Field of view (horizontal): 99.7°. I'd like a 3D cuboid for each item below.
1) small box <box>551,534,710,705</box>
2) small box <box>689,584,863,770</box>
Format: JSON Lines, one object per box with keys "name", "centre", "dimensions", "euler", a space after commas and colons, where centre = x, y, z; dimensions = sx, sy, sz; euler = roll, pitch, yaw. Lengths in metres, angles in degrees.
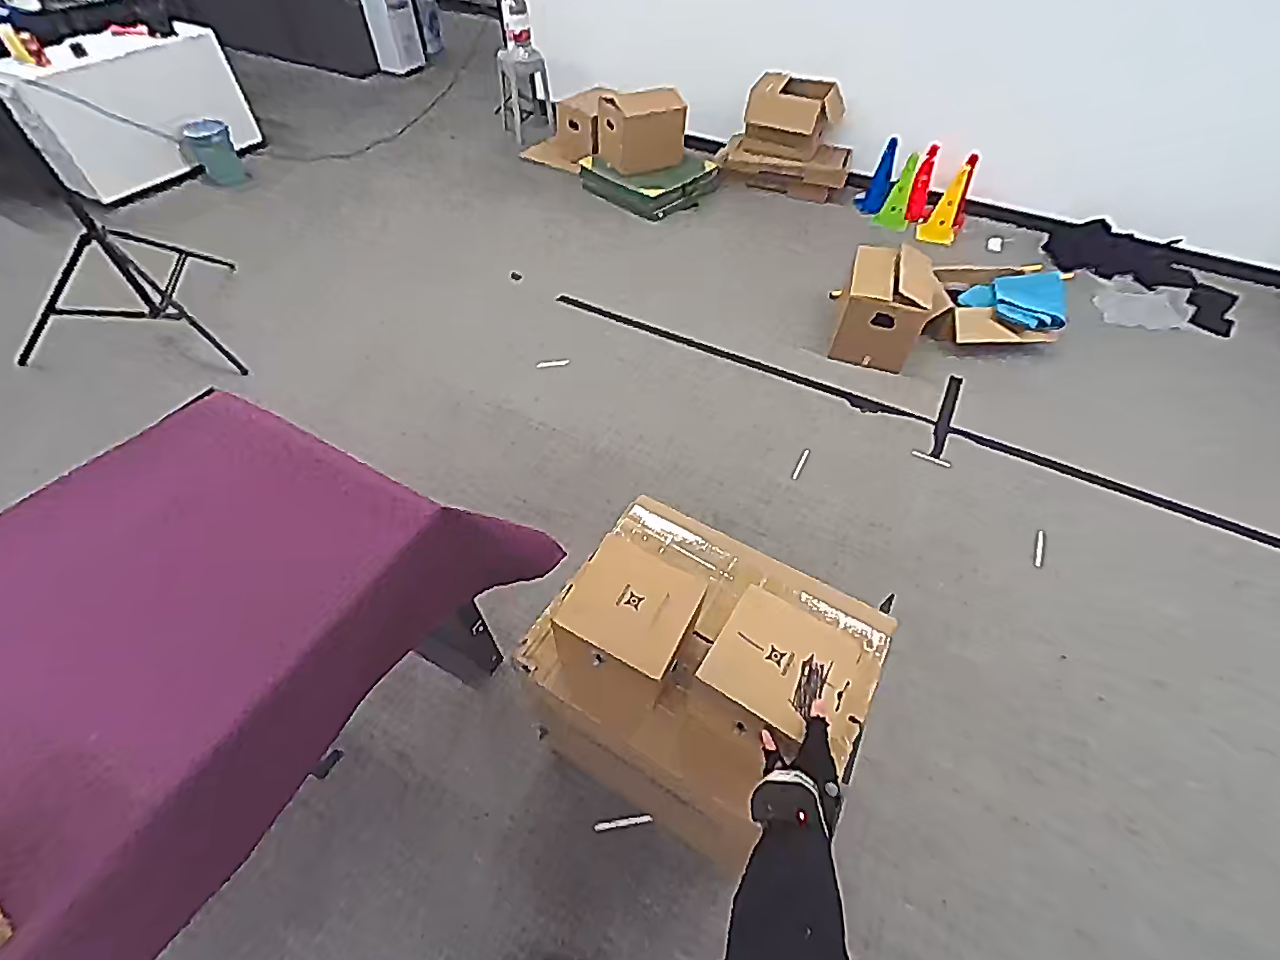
{"name": "small box", "centre": [-0.014, 0.220, 0.835], "dimensions": [0.179, 0.176, 0.168], "euler": [25, 56, 15]}
{"name": "small box", "centre": [0.187, 0.290, 0.784], "dimensions": [0.179, 0.176, 0.168], "euler": [27, 56, 21]}
